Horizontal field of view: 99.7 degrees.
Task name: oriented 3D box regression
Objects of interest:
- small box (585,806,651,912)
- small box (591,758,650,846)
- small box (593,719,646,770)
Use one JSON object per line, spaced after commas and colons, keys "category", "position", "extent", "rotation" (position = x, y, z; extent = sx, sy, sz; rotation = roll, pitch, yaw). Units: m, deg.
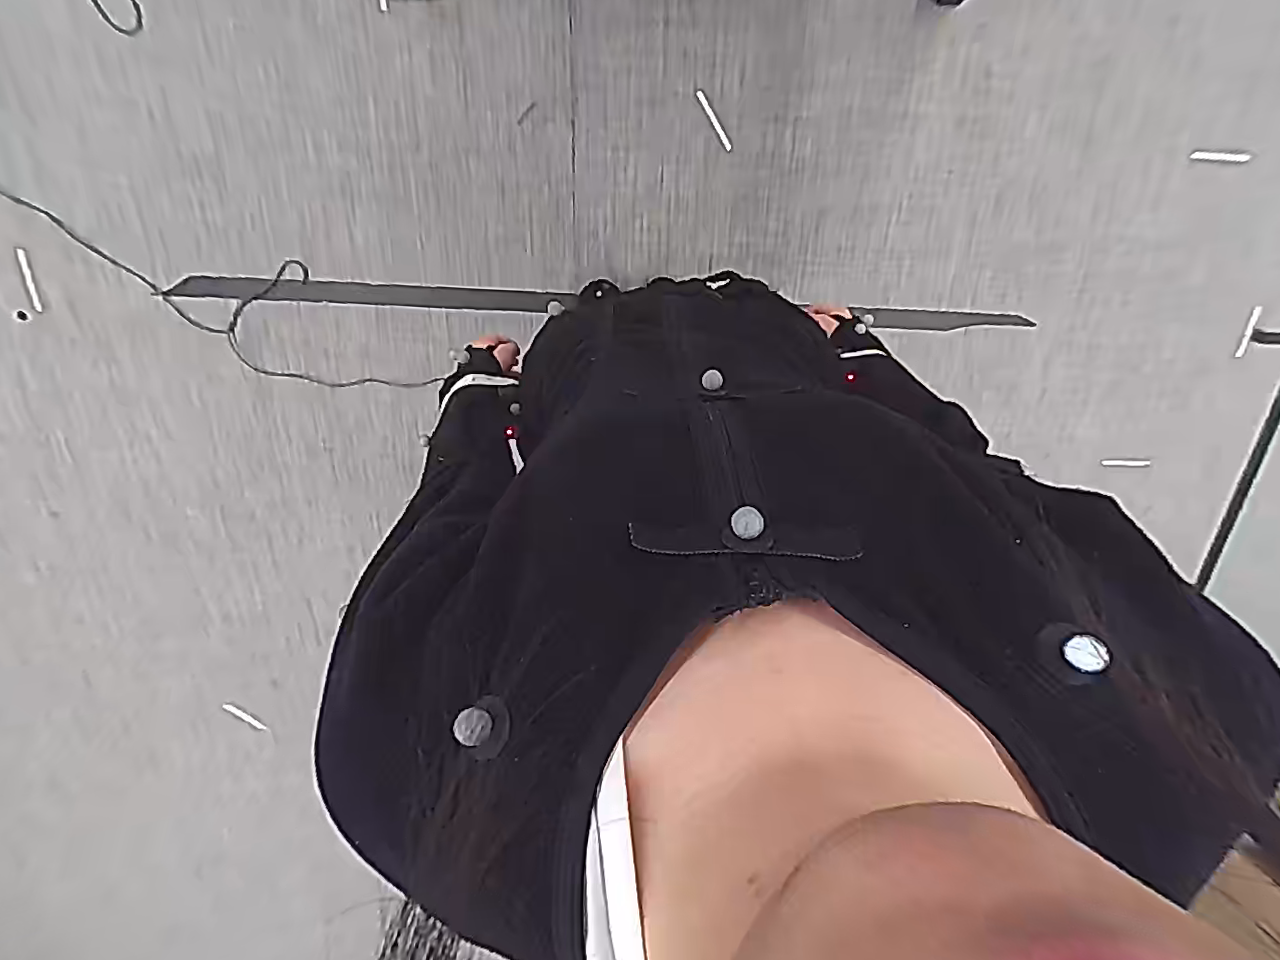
{"category": "small box", "position": [-0.057, 1.032, 1.478], "extent": [0.168, 0.176, 0.179], "rotation": [-4, 110, -2]}
{"category": "small box", "position": [-0.057, 0.974, 1.633], "extent": [0.168, 0.176, 0.179], "rotation": [-5, 112, -2]}
{"category": "small box", "position": [-0.068, 0.914, 1.785], "extent": [0.168, 0.176, 0.179], "rotation": [-3, 111, -3]}
